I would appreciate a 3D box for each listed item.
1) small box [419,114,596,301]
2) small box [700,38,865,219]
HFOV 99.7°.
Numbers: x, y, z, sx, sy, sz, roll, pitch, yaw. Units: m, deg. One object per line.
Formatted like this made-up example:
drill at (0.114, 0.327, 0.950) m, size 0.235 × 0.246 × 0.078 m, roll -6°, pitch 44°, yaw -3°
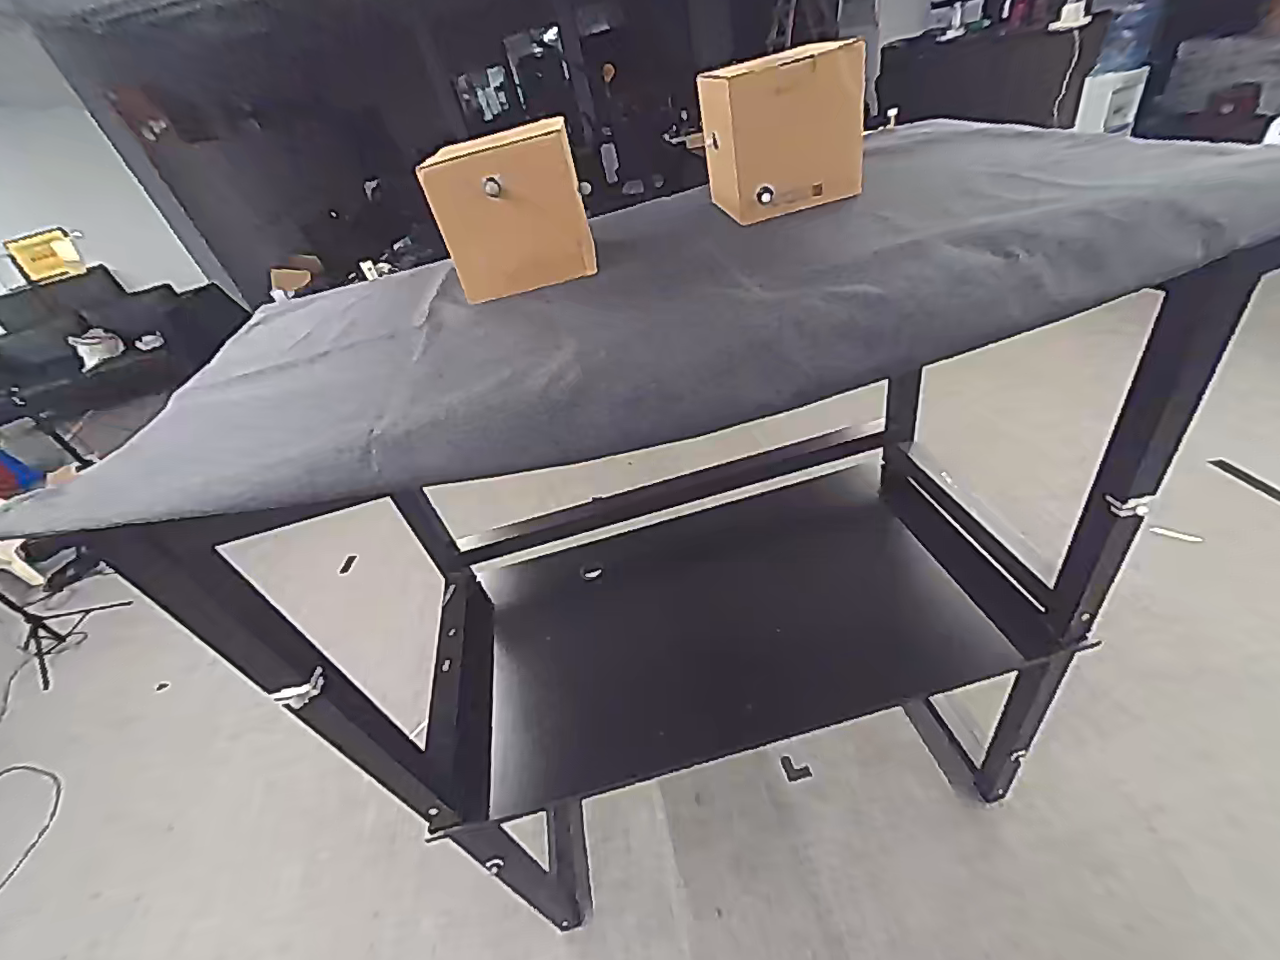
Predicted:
small box at (-0.159, -0.362, 0.721) m, size 0.179 × 0.176 × 0.168 m, roll -13°, pitch 38°, yaw 4°
small box at (0.190, -0.473, 0.739) m, size 0.168 × 0.176 × 0.179 m, roll -14°, pitch 37°, yaw 2°
